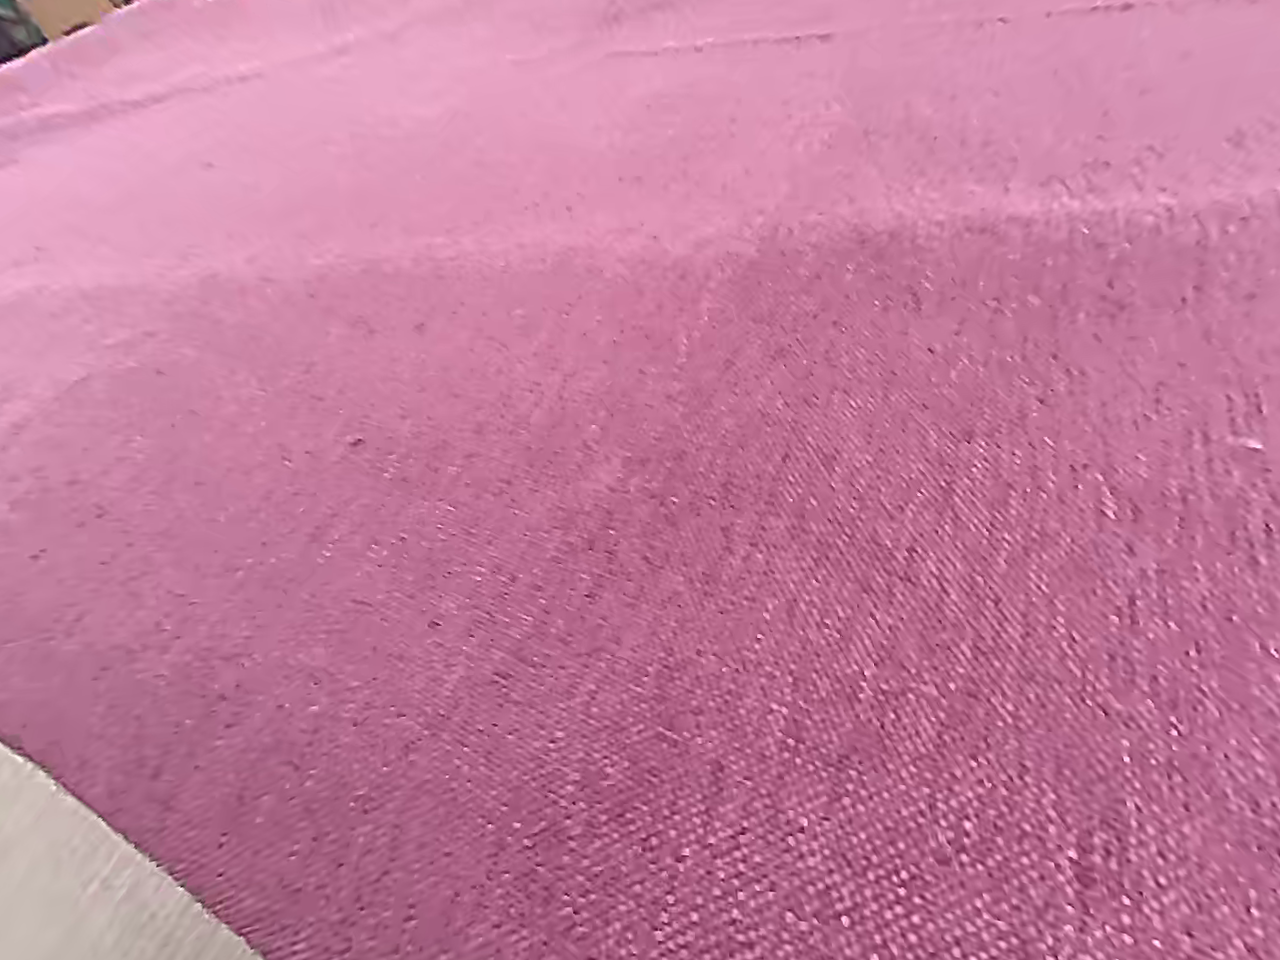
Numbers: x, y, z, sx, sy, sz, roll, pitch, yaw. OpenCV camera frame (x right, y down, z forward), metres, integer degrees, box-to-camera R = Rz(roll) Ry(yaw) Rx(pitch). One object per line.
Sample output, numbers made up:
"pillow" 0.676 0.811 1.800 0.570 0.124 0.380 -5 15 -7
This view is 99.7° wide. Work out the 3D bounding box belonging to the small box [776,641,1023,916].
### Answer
"small box" 0.240 0.282 0.520 0.179 0.176 0.168 11 59 23
